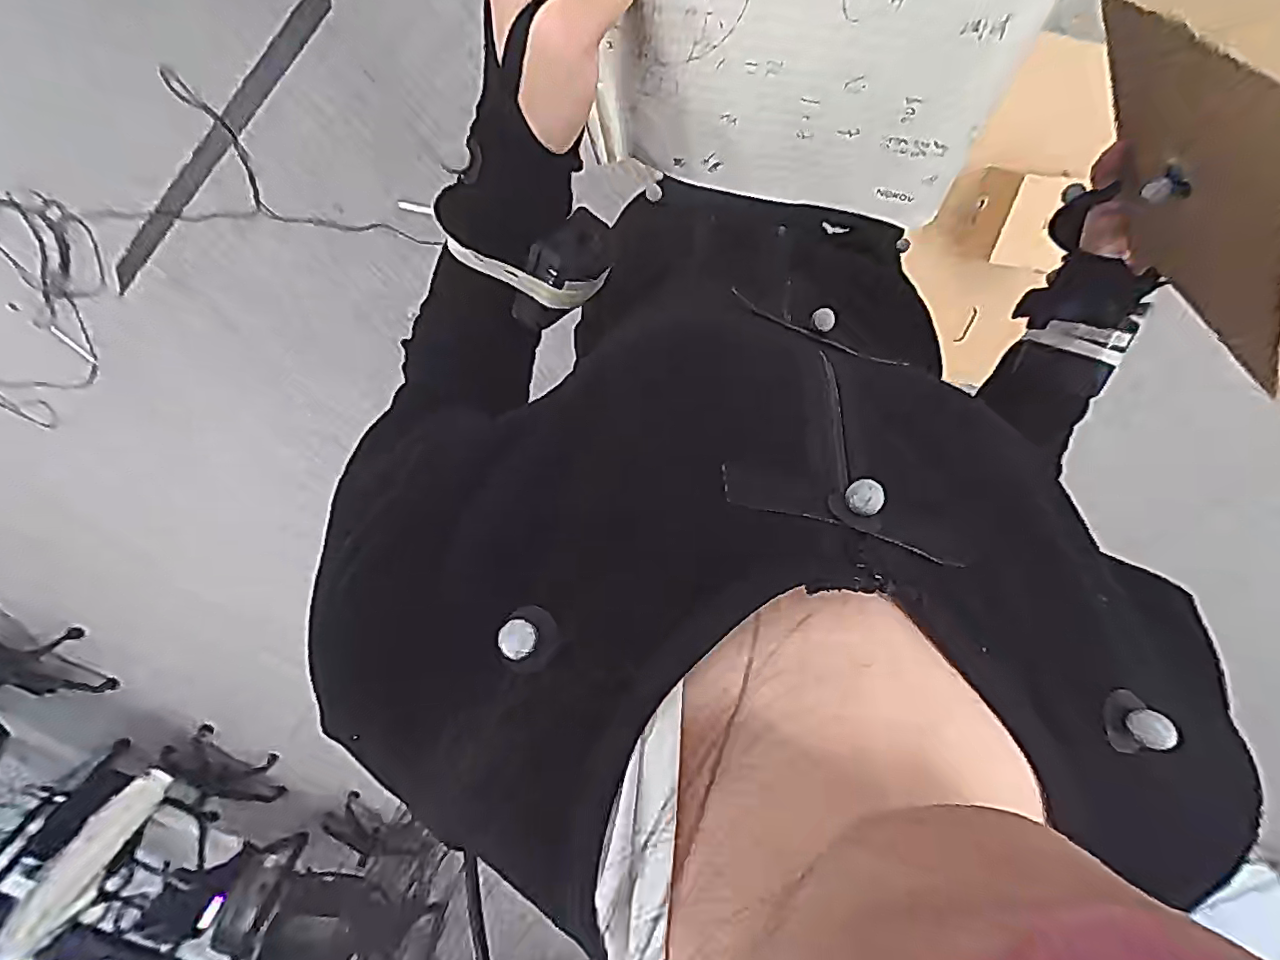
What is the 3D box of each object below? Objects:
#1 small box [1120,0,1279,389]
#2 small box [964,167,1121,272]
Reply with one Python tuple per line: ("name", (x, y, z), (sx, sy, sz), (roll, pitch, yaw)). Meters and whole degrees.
("small box", (0.342, -0.177, 0.227), (0.179, 0.176, 0.168), (-23, 133, 33))
("small box", (0.824, -0.548, 1.130), (0.179, 0.176, 0.168), (8, 125, 3))
